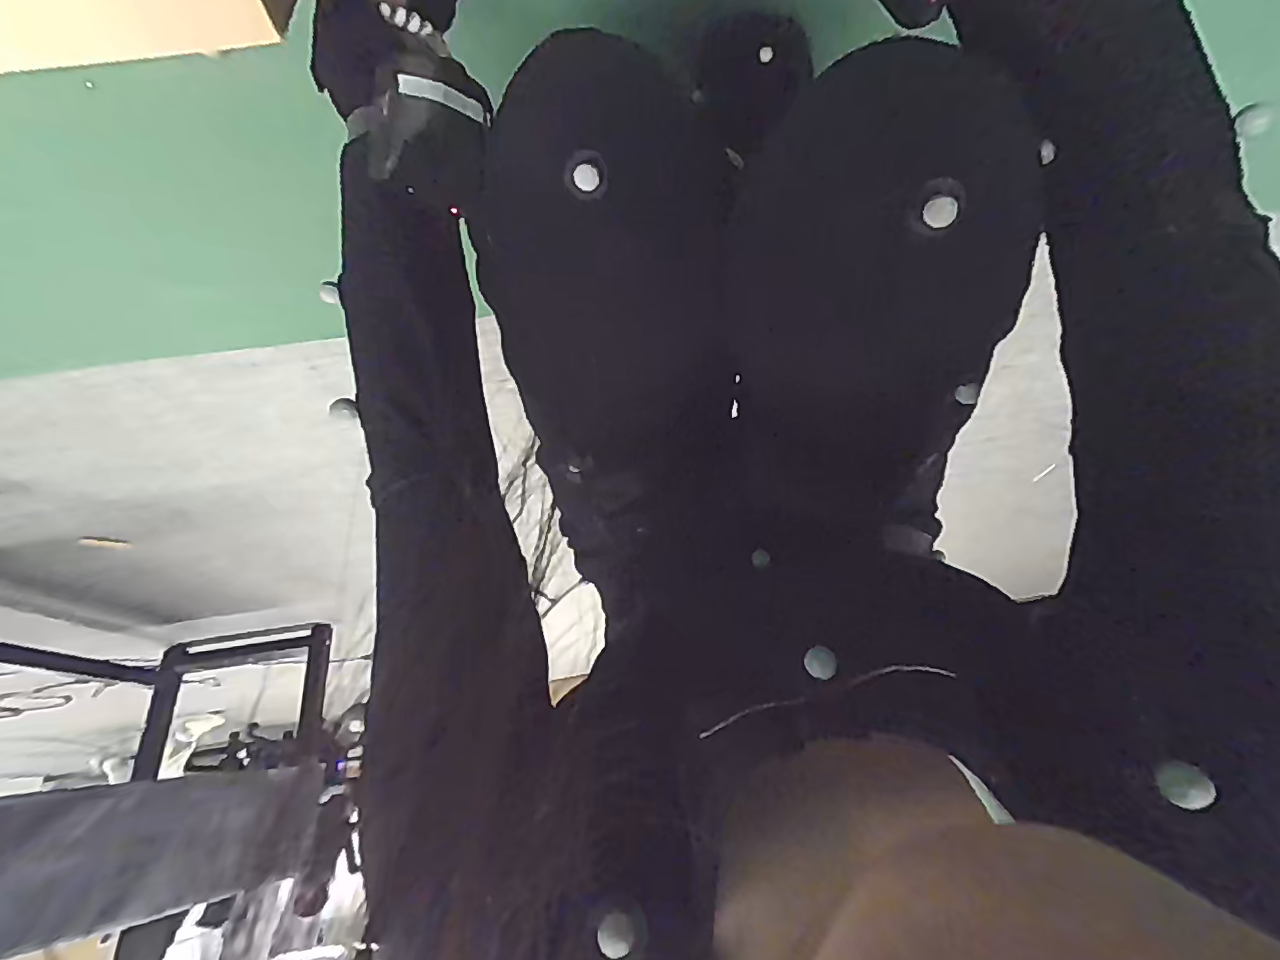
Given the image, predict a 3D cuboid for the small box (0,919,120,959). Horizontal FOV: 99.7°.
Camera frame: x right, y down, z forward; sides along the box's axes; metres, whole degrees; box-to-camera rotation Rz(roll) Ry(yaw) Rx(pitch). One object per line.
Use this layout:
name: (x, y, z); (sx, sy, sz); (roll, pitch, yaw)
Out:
small box: (-1.206, 1.008, 1.083); (0.179, 0.176, 0.168); (-8, 152, 0)
